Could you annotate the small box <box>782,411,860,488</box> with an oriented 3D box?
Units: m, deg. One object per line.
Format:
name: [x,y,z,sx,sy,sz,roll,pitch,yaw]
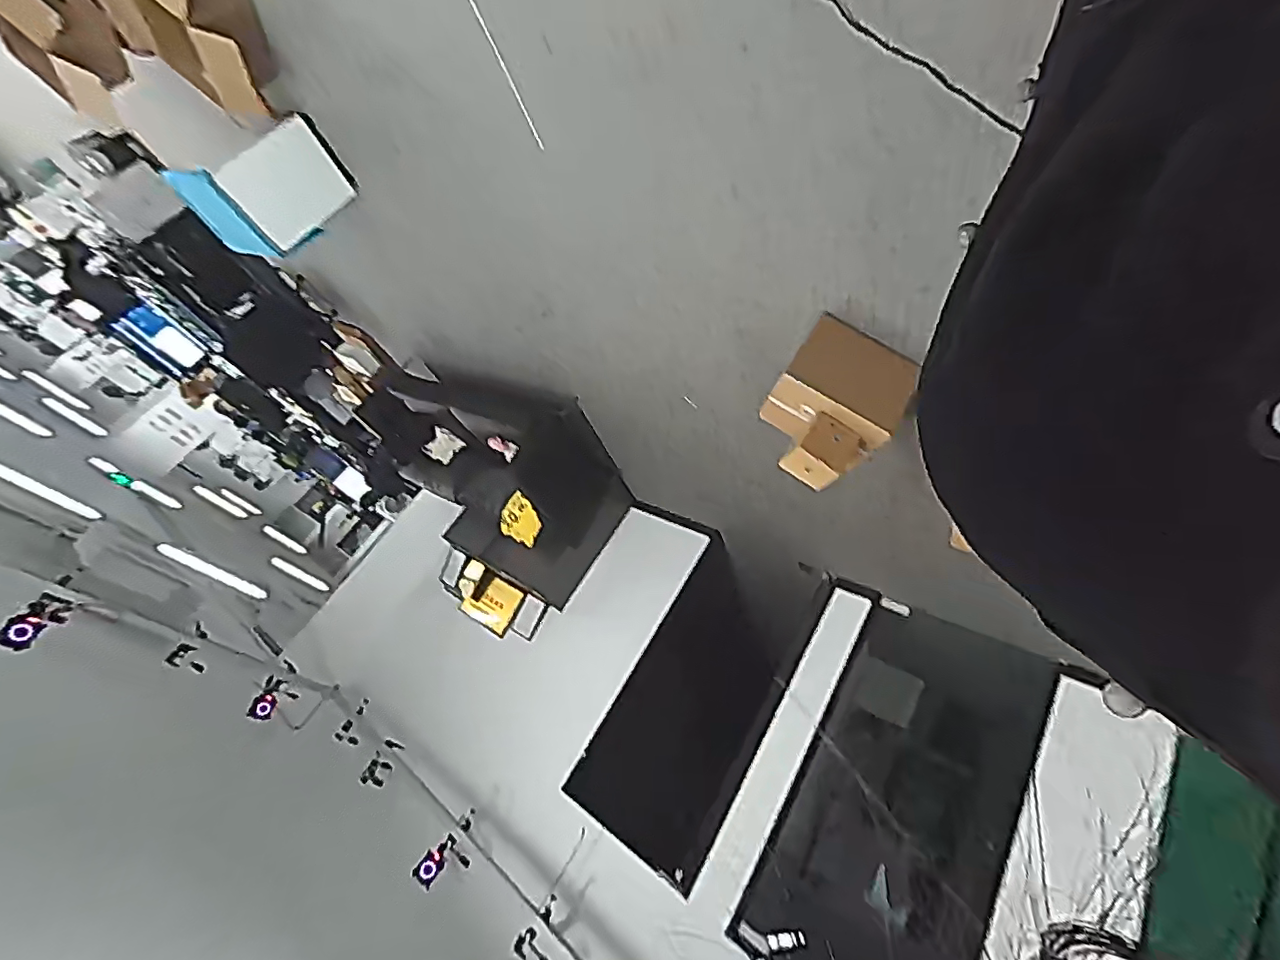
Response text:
small box: [0.623,-0.104,1.857,0.168,0.176,0.179,34,161,3]

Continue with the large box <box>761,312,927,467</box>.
large box: [0.718,-0.318,1.938,0.408,0.320,0.320,33,160,8]
